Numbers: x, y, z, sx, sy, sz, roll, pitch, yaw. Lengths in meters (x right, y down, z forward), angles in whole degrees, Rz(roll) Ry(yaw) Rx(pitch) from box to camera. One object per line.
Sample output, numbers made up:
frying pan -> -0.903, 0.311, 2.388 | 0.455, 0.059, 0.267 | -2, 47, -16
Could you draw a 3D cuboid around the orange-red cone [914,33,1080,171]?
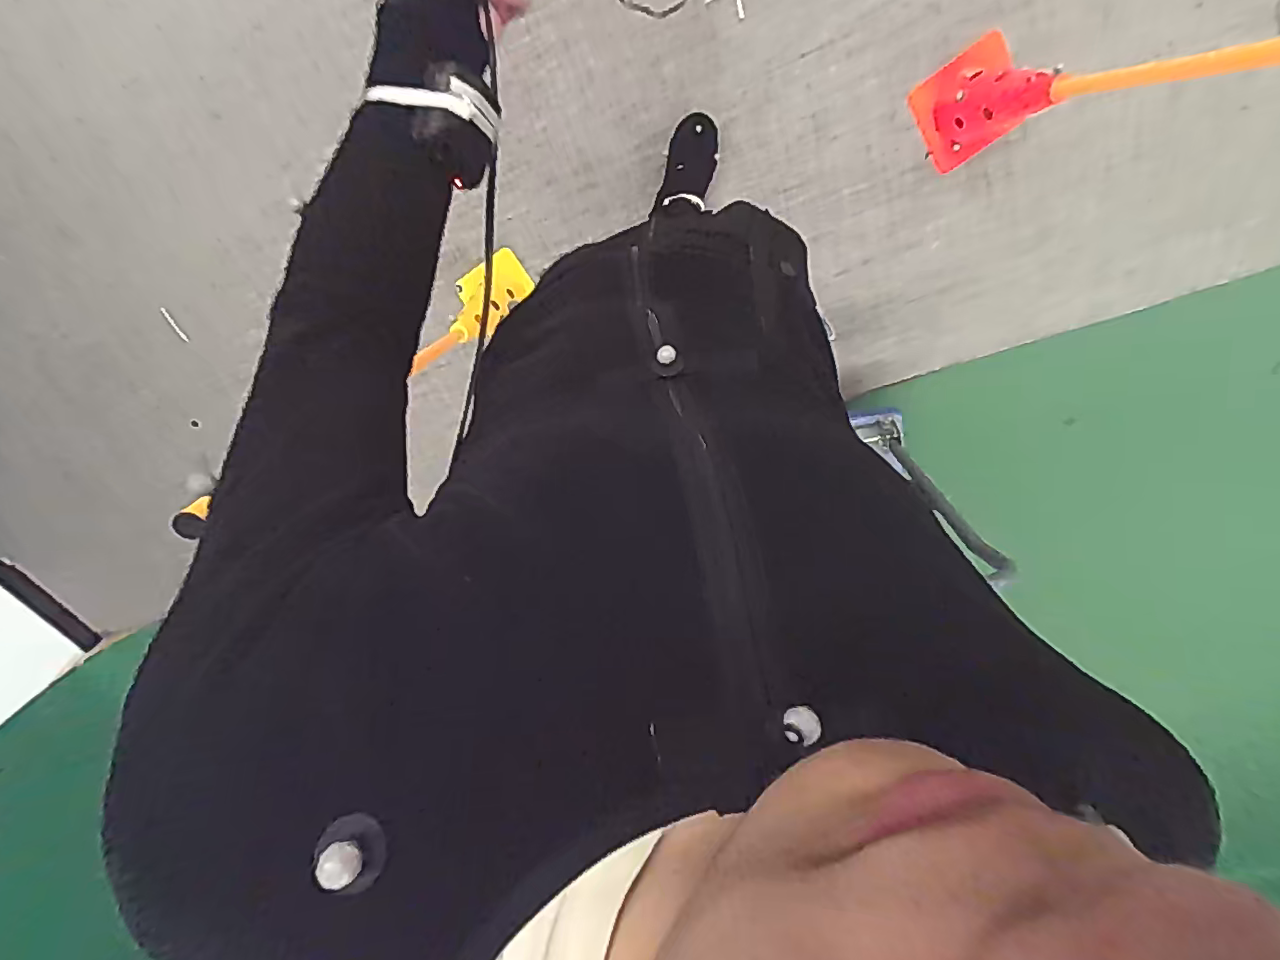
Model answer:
orange-red cone -> 0.717, -0.738, 1.043 | 0.199, 0.360, 0.198 | -31, 115, 19
